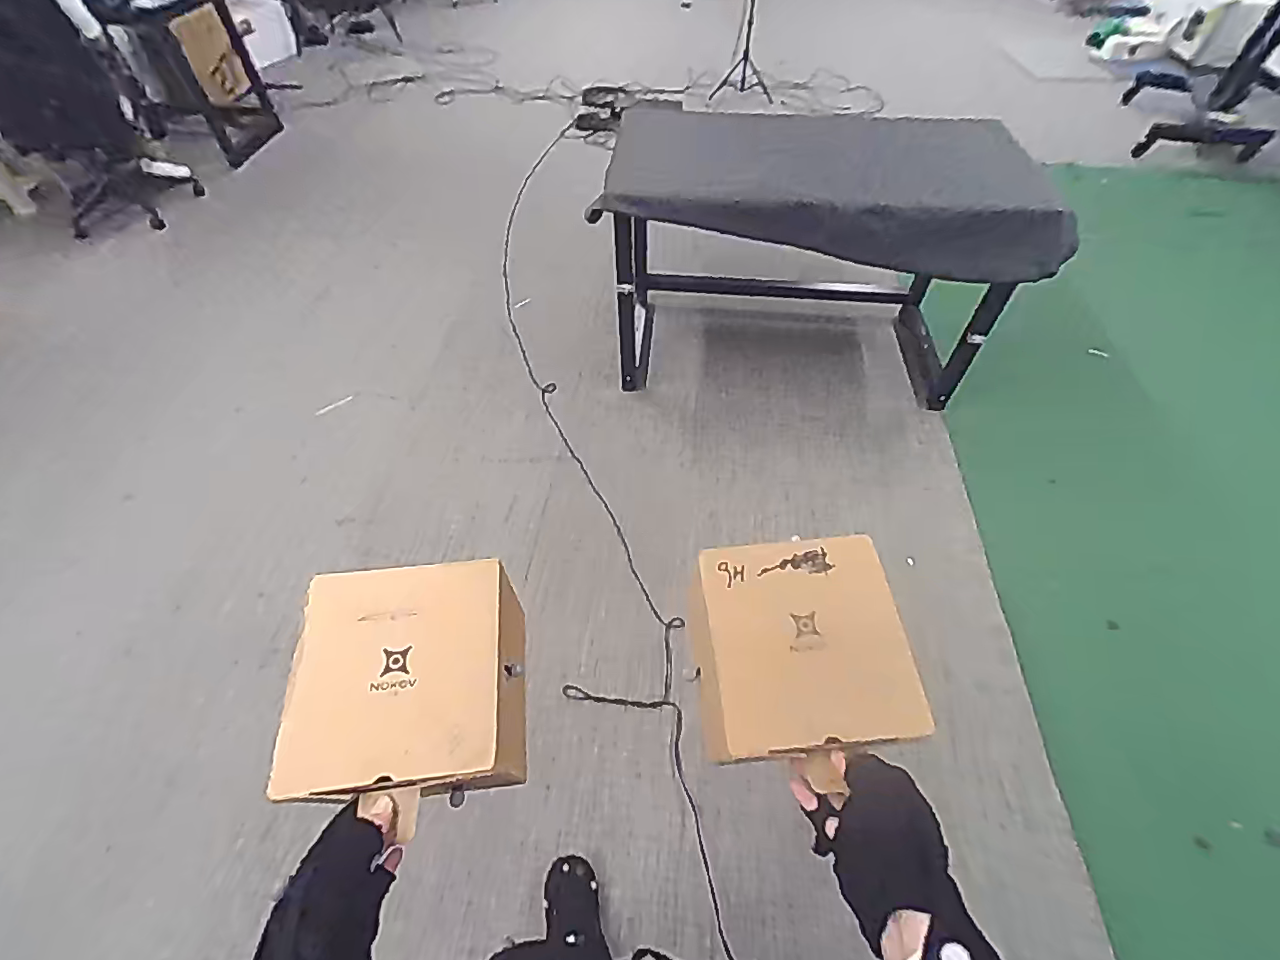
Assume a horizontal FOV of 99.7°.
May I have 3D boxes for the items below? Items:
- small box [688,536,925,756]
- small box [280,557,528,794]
[{"bbox_3d":[0.143,0.173,0.540,0.168,0.176,0.179,-4,61,-2],"label":"small box"},{"bbox_3d":[-0.200,0.192,0.517,0.168,0.176,0.179,-5,58,-7],"label":"small box"}]
